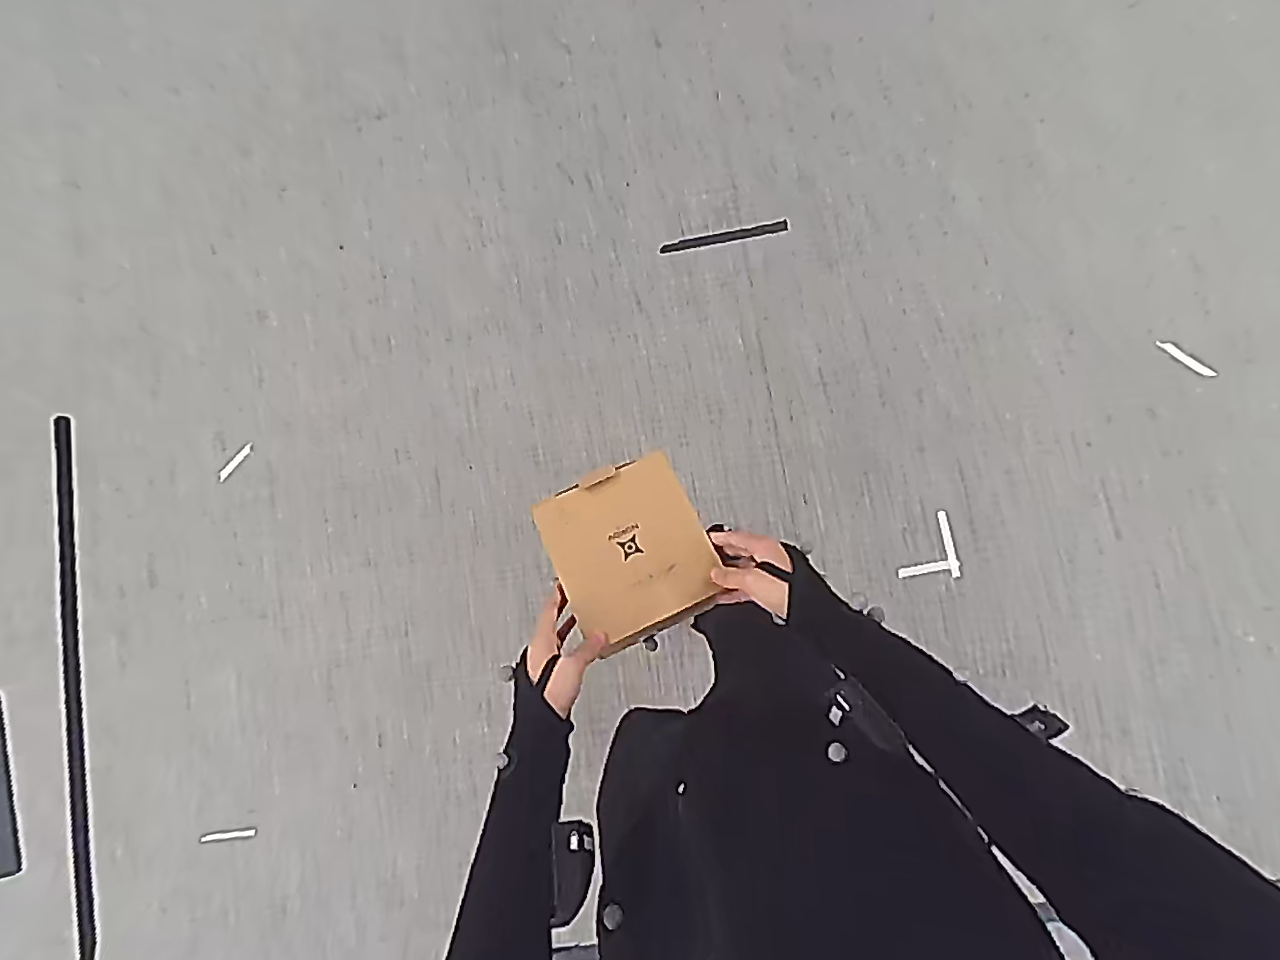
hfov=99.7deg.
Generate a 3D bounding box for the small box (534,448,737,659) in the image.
[{"bbox_3d":[-0.009,0.095,0.641,0.168,0.176,0.179,-23,70,-9],"label":"small box"}]
